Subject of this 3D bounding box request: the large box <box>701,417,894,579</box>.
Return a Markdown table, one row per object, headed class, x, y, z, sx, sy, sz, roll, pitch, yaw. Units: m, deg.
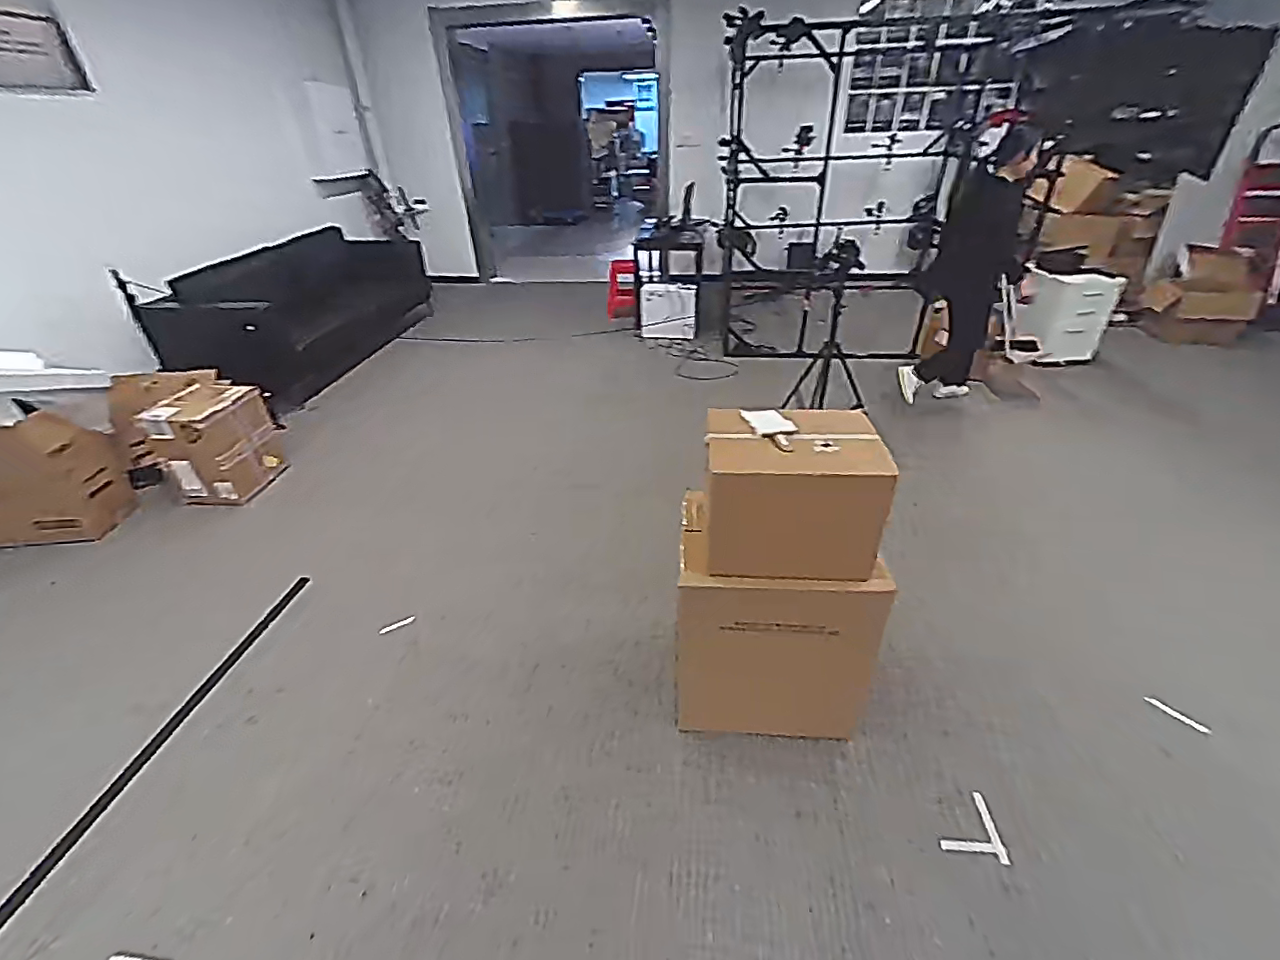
| class | x | y | z | sx | sy | sz | roll | pitch | yaw |
| --- | --- | --- | --- | --- | --- | --- | --- | --- | --- |
| large box | 0.369 | 0.041 | 1.392 | 0.408 | 0.320 | 0.320 | 1 | 34 | 4 |
